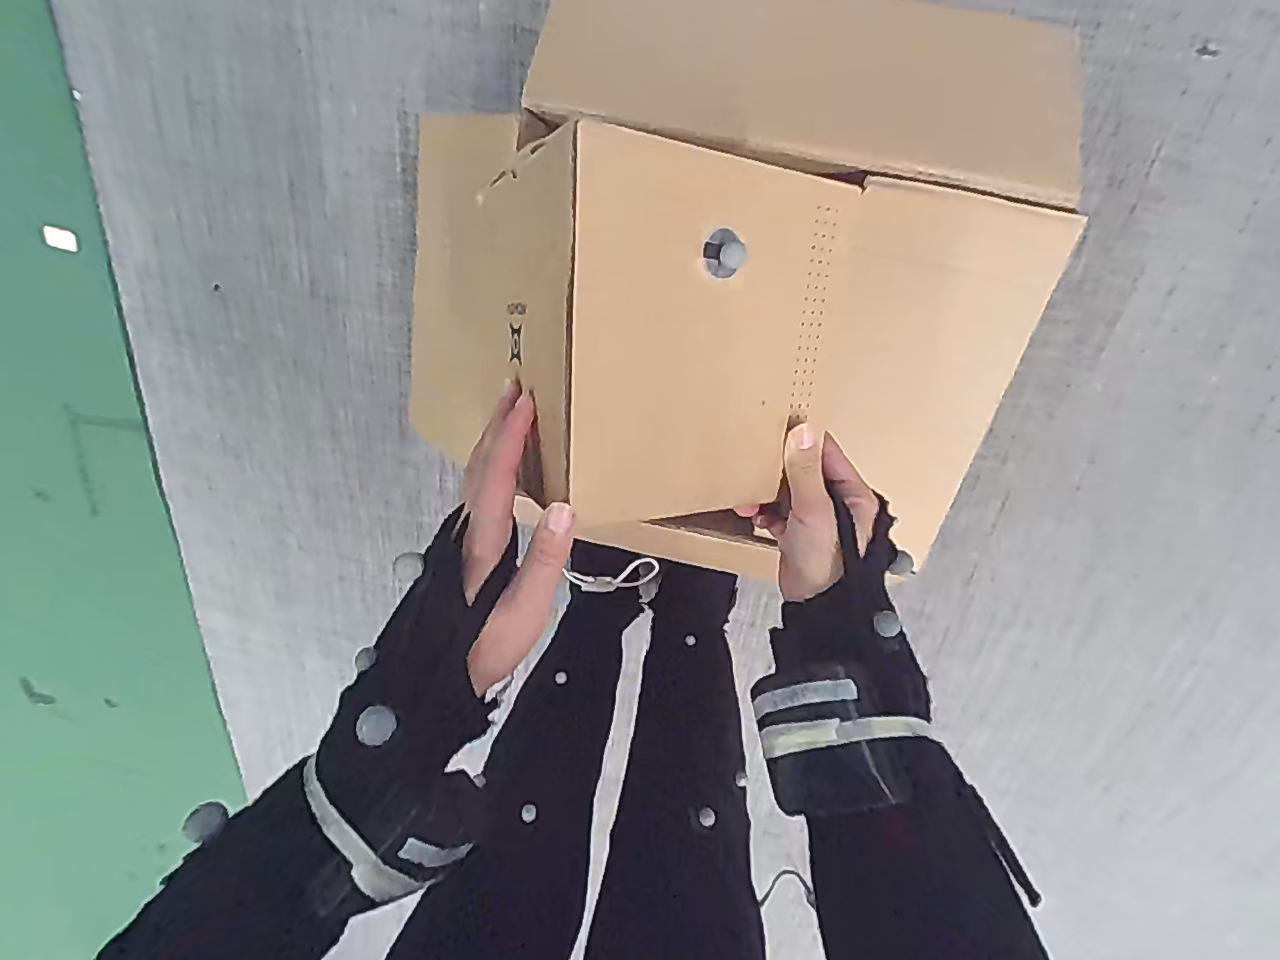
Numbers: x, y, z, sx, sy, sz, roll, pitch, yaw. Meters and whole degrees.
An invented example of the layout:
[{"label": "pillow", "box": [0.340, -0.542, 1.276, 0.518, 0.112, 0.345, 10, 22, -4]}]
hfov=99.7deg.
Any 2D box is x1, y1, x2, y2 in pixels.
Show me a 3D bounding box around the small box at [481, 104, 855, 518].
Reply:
[{"label": "small box", "box": [0.006, -0.093, 0.337, 0.176, 0.168, 0.179, -6, 108, -27]}]
